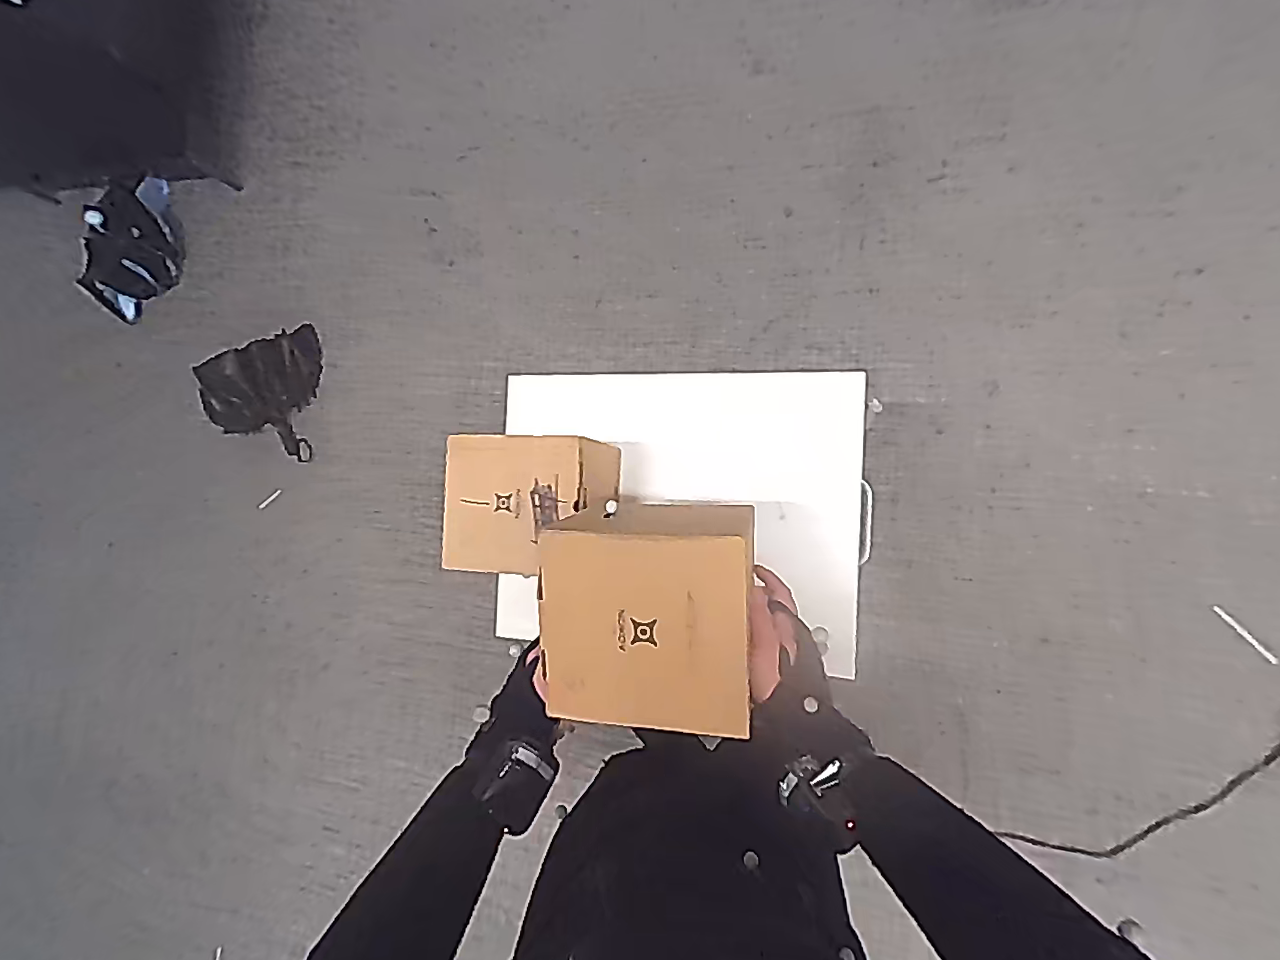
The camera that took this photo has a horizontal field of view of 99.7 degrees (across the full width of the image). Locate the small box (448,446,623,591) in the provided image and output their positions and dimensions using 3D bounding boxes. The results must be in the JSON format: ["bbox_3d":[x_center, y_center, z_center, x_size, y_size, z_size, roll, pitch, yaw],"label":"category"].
[{"bbox_3d":[-0.126,0.046,0.713,0.179,0.176,0.168,1,87,15],"label":"small box"}]
